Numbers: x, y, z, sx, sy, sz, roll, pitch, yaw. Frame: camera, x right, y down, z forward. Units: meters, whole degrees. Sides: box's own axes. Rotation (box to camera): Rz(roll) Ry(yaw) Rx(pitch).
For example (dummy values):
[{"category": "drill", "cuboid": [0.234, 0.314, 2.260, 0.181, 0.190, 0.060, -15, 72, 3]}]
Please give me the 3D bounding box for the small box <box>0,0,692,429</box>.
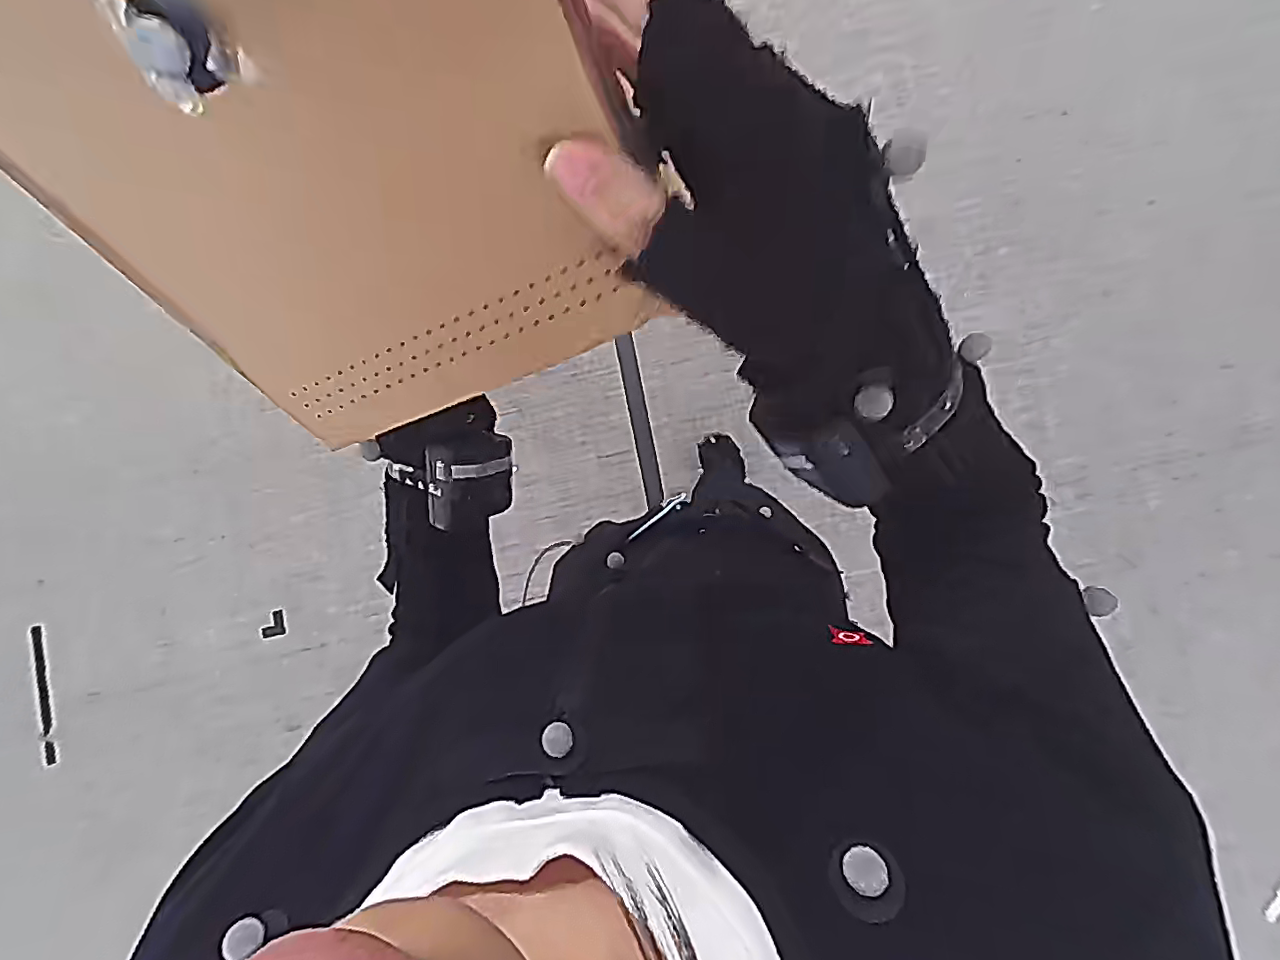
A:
[{"category": "small box", "cuboid": [-0.090, -0.146, 0.226, 0.179, 0.176, 0.168, -16, 45, 21]}]
